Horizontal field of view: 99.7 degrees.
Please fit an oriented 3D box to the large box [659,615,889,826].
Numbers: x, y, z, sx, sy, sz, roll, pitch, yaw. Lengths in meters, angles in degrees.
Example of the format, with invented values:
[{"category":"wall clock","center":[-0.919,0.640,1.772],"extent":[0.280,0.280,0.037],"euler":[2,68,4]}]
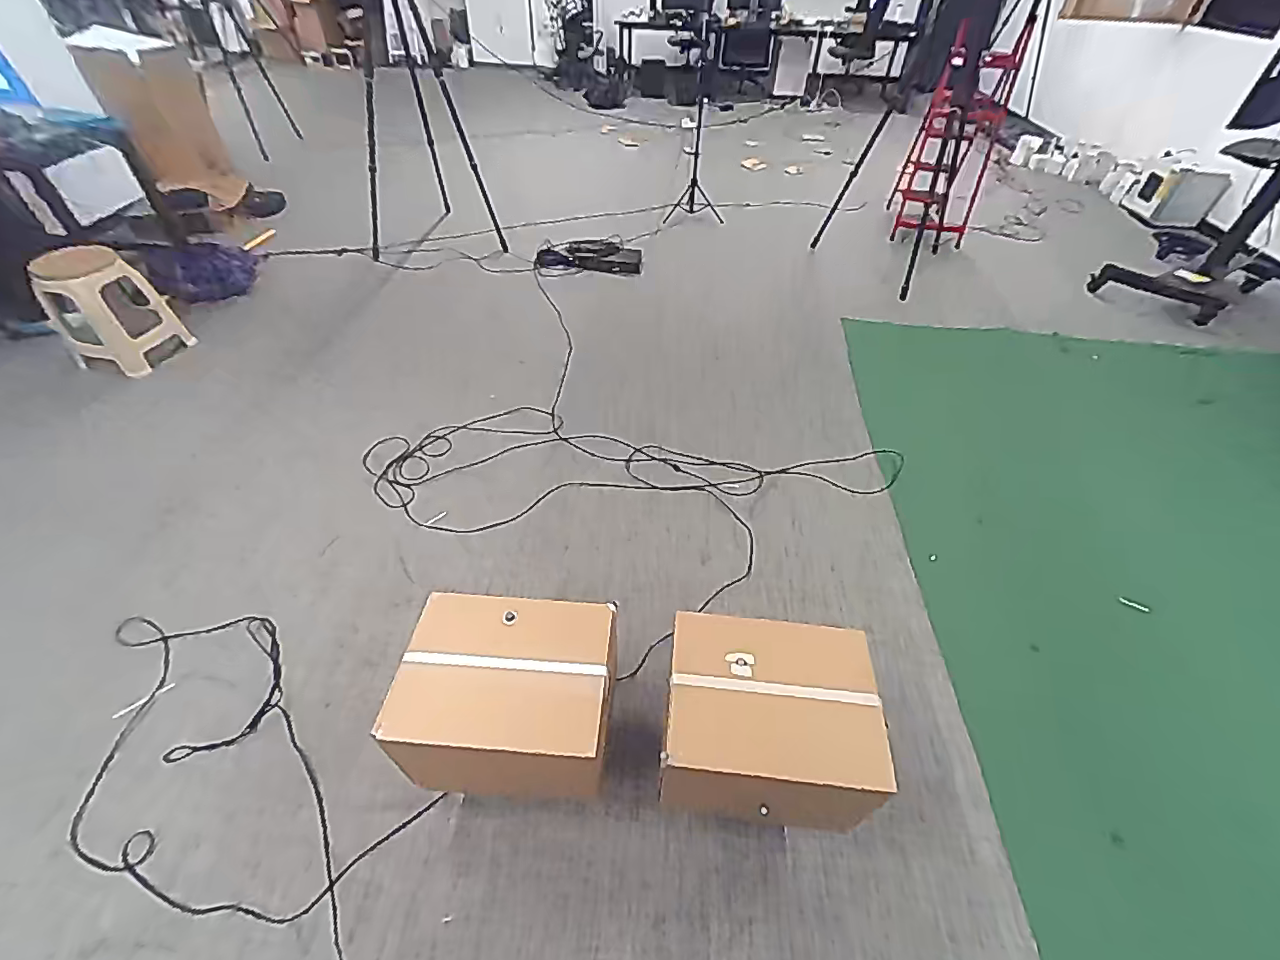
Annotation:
[{"category":"large box","center":[0.258,0.523,1.169],"extent":[0.408,0.320,0.320],"euler":[6,46,4]}]
